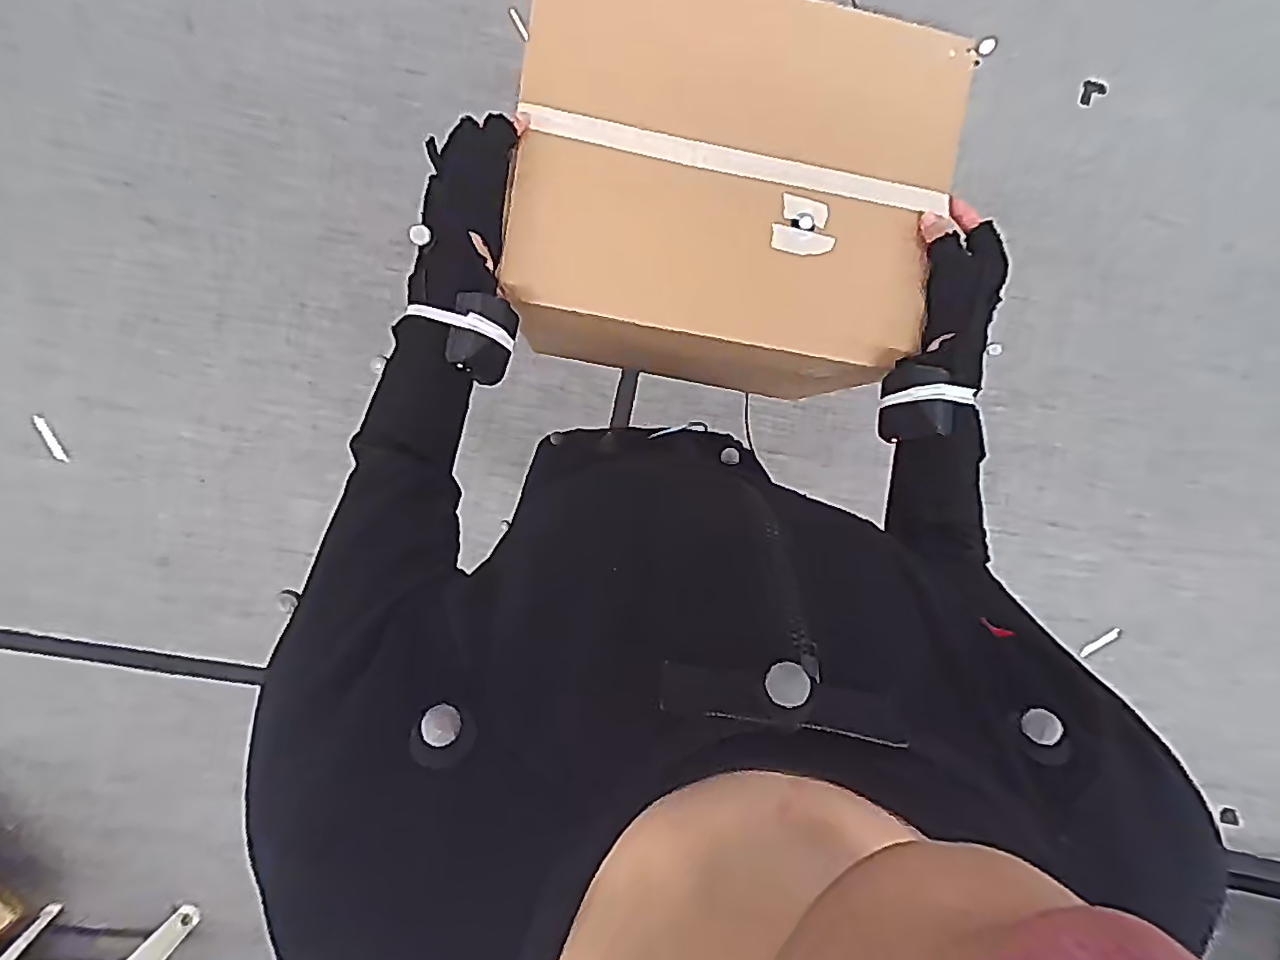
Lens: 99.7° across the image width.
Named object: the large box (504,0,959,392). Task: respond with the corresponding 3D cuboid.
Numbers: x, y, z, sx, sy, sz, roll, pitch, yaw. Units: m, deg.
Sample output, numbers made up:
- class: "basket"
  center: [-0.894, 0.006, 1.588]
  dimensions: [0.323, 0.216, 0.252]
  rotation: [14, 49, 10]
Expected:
- class: "large box"
  center: [0.075, -0.303, 0.656]
  dimensions: [0.408, 0.320, 0.320]
  rotation: [10, 94, -6]
